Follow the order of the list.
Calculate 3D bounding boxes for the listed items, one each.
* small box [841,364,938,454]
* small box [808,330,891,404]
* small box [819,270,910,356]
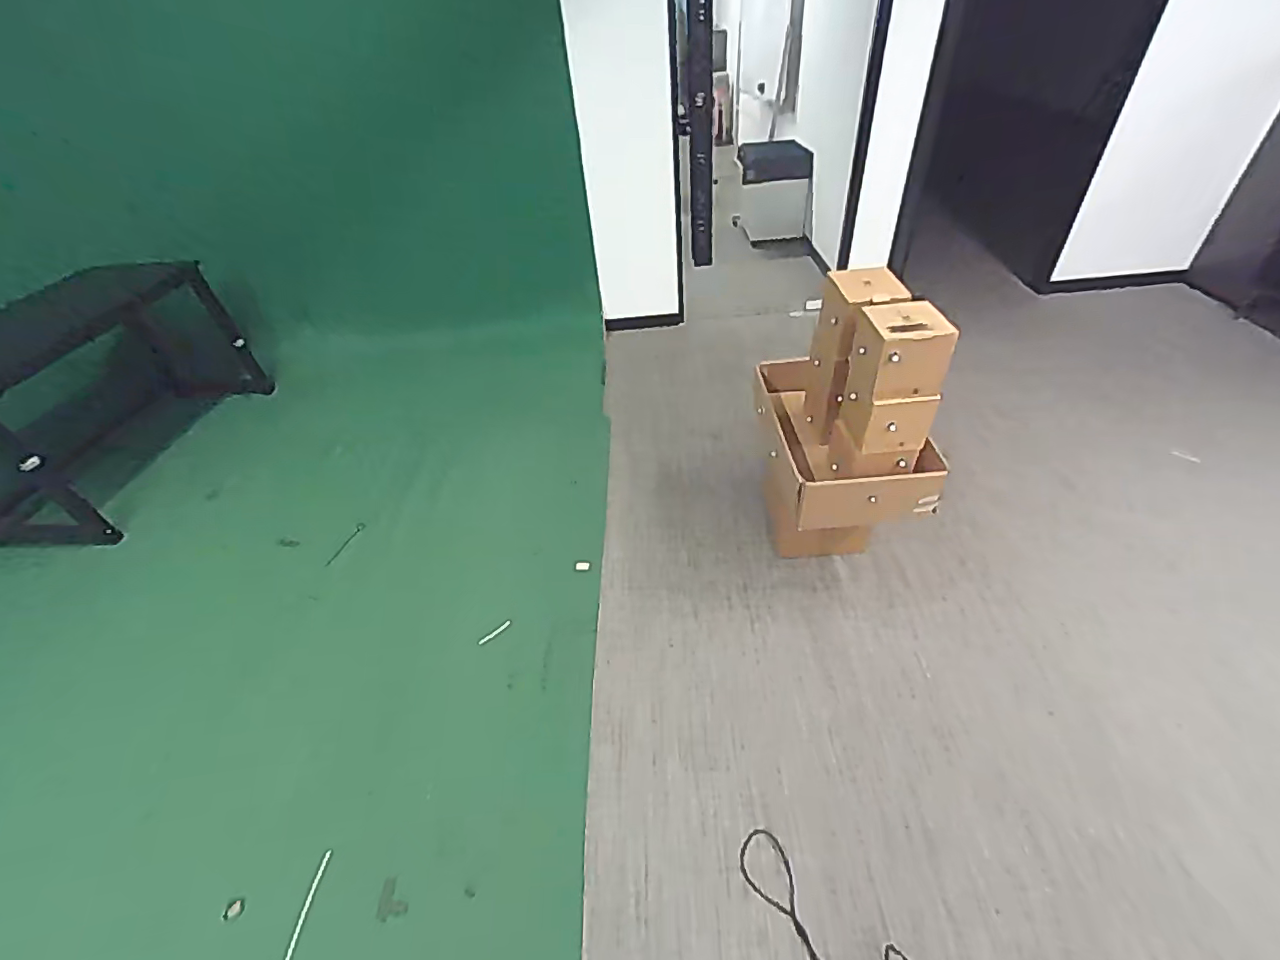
[{"bbox_3d":[0.649,-0.182,1.429,0.168,0.176,0.179,-6,42,1],"label":"small box"},{"bbox_3d":[0.614,-0.339,1.604,0.168,0.176,0.179,-8,45,-2],"label":"small box"},{"bbox_3d":[0.609,-0.454,1.488,0.168,0.176,0.179,-6,45,0],"label":"small box"}]
